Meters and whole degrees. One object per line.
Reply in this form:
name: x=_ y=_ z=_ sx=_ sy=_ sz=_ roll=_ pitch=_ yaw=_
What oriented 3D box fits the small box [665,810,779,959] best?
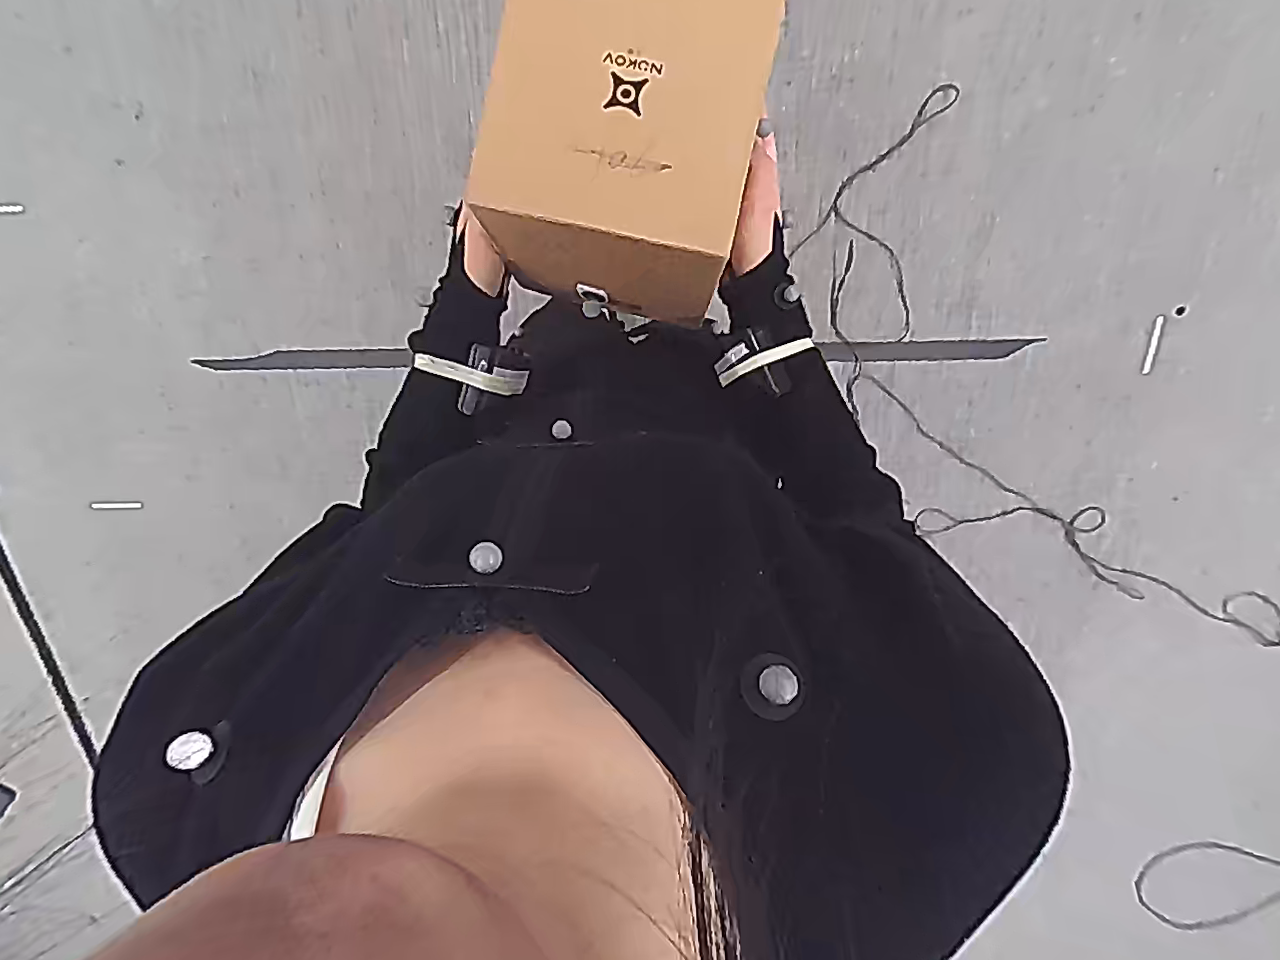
small box: x=0.127 y=0.678 z=0.884 sx=0.168 sy=0.176 sz=0.179 roll=-4 pitch=109 yaw=3

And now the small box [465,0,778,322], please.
small box: x=-0.011 y=-0.240 z=0.409 sx=0.168 sy=0.176 sz=0.179 roll=12 pitch=92 yaw=0
